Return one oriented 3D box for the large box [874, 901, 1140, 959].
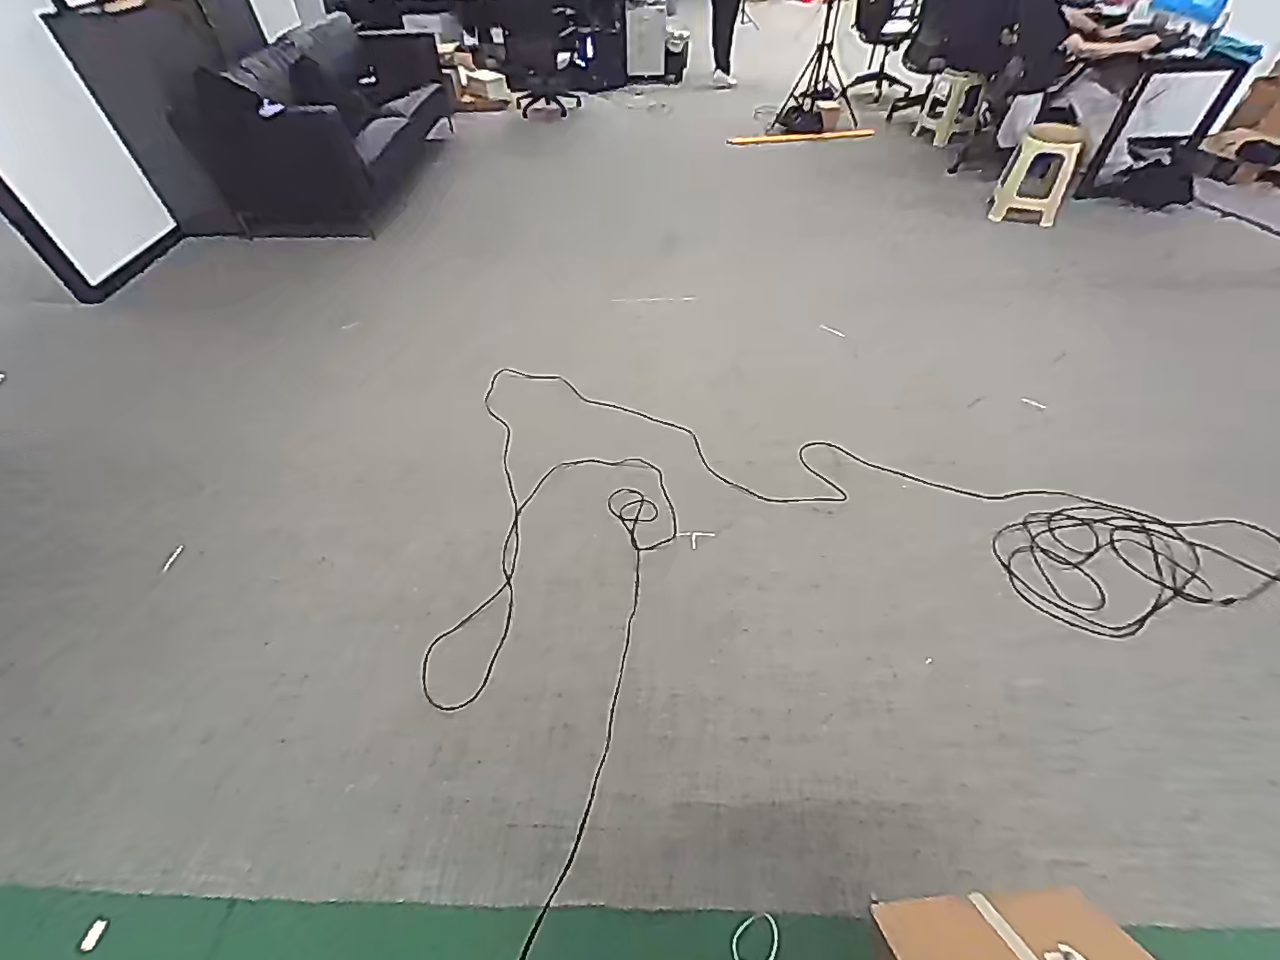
[{"bbox_3d":[0.517,0.784,0.604,0.320,0.408,0.320,-5,87,1],"label":"large box"}]
